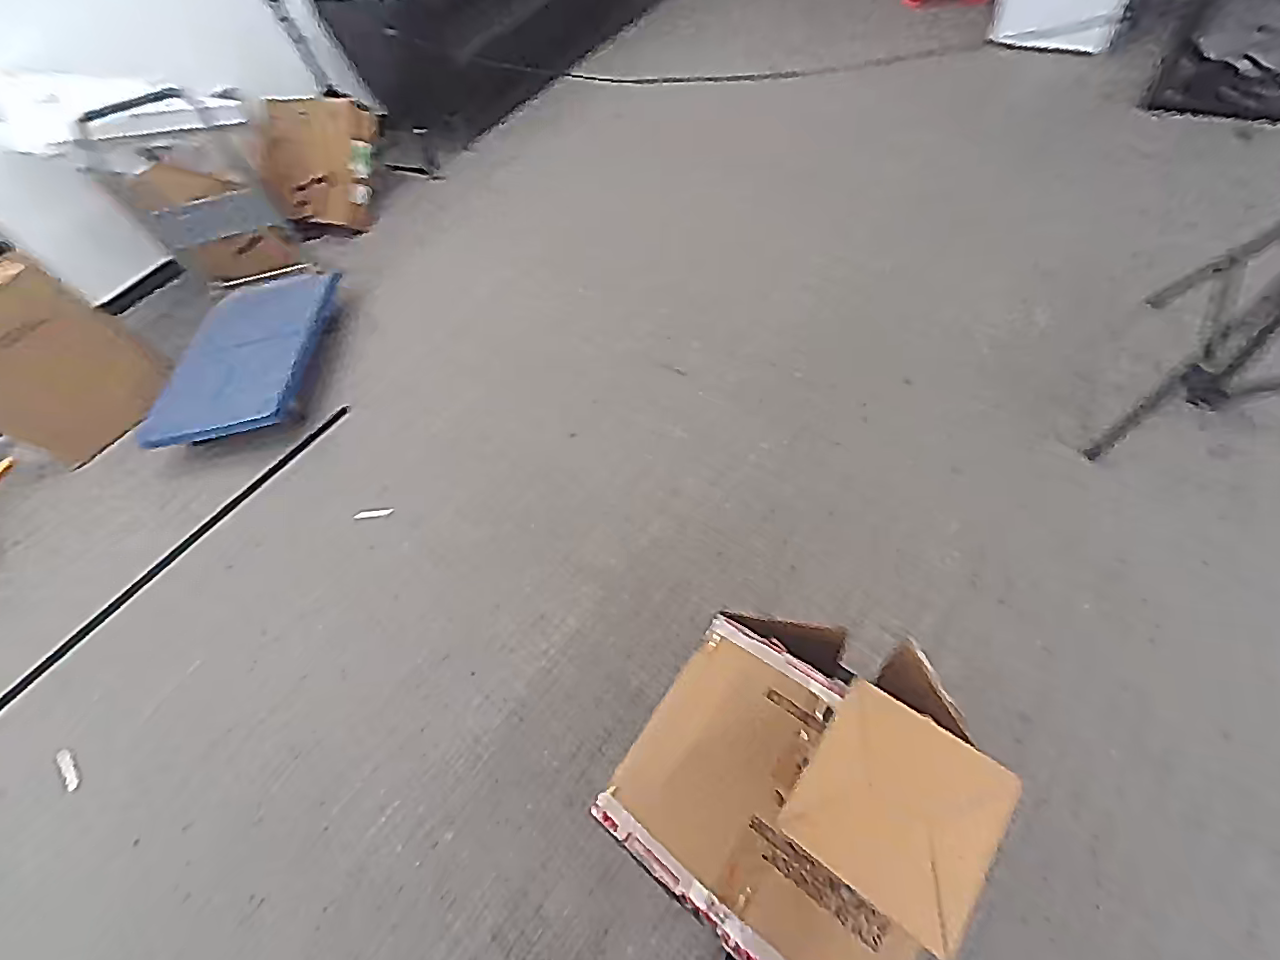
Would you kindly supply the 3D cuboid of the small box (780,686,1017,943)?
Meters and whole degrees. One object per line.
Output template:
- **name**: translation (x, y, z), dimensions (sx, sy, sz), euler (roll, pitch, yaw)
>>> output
- **small box**: translation (0.266, 0.354, 0.589), dimensions (0.168, 0.176, 0.179), euler (29, 71, 26)
